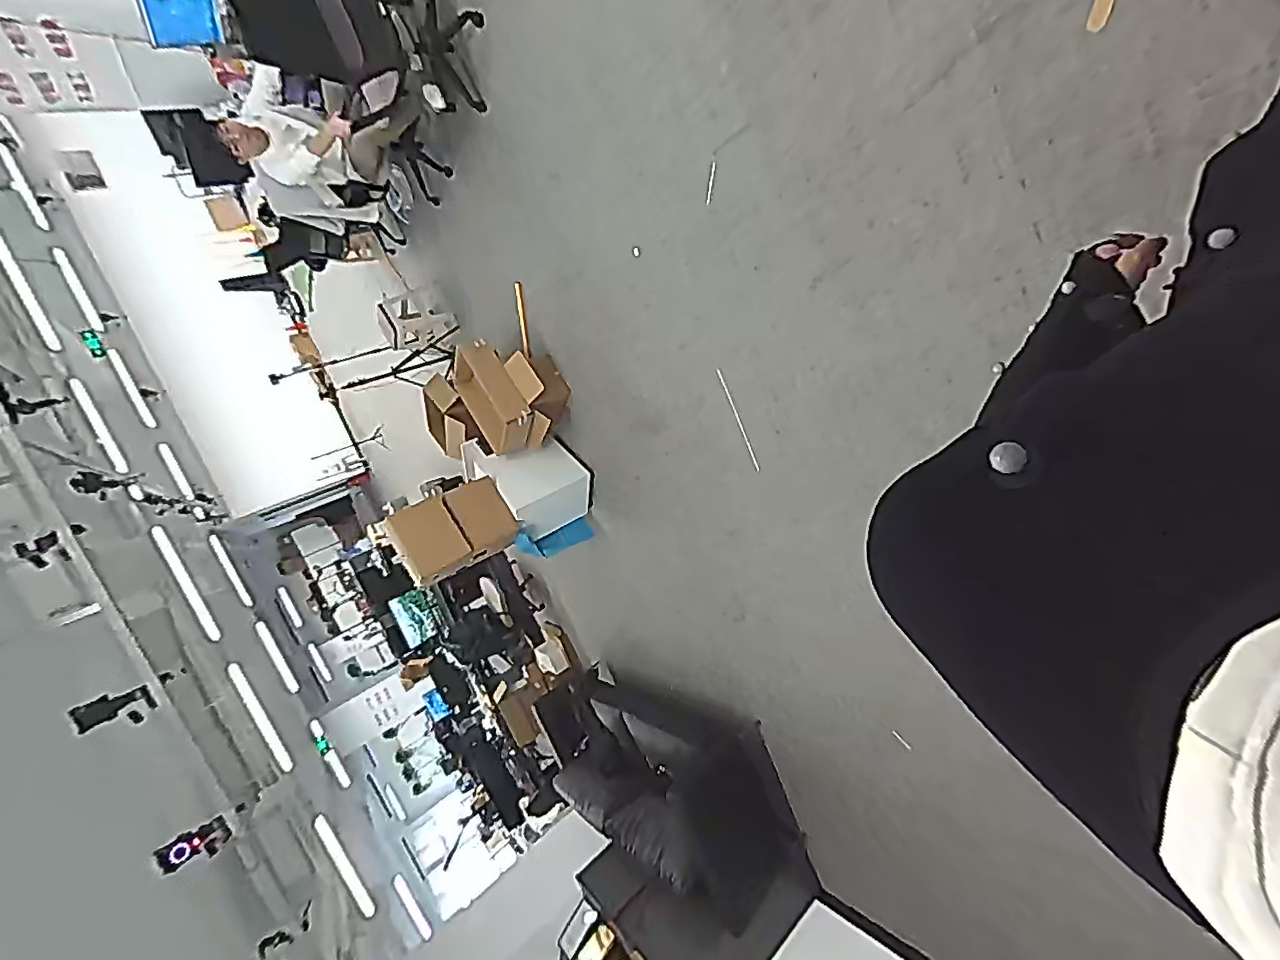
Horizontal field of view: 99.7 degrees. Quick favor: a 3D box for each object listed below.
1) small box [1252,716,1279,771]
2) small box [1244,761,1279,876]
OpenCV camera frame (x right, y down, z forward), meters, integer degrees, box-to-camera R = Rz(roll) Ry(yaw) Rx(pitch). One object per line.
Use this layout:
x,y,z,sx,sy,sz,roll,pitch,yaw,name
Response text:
1.547,0.668,1.227,0.179,0.176,0.168,-5,109,57,small box
1.425,0.736,1.142,0.179,0.176,0.168,-1,112,56,small box
